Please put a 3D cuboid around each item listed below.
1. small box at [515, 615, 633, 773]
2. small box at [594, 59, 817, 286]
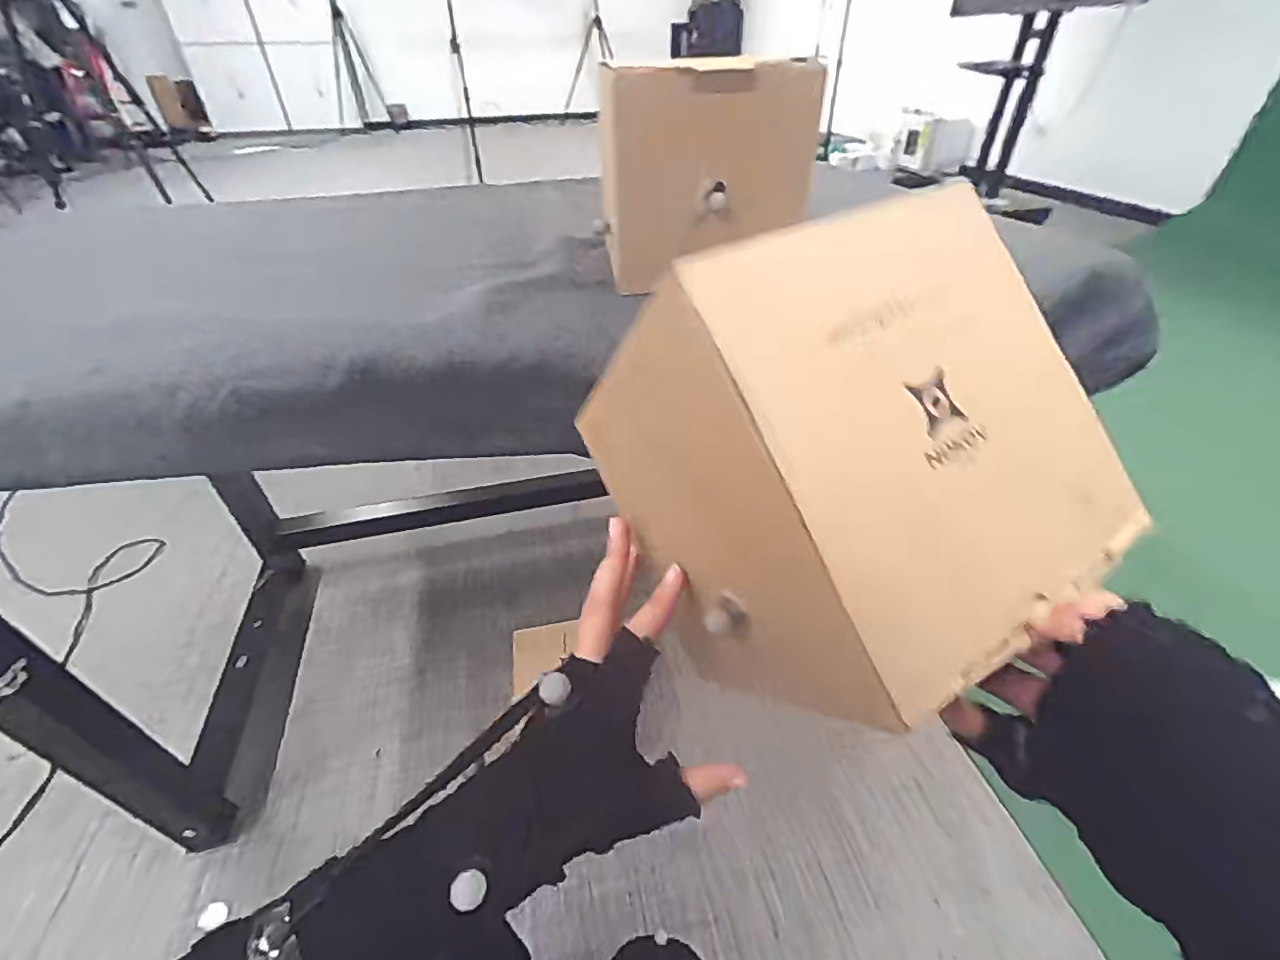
[{"bbox_3d":[-0.107,0.353,0.885,0.168,0.176,0.179,-8,38,-7],"label":"small box"},{"bbox_3d":[0.048,-0.284,0.511,0.168,0.176,0.179,-5,39,-4],"label":"small box"}]
